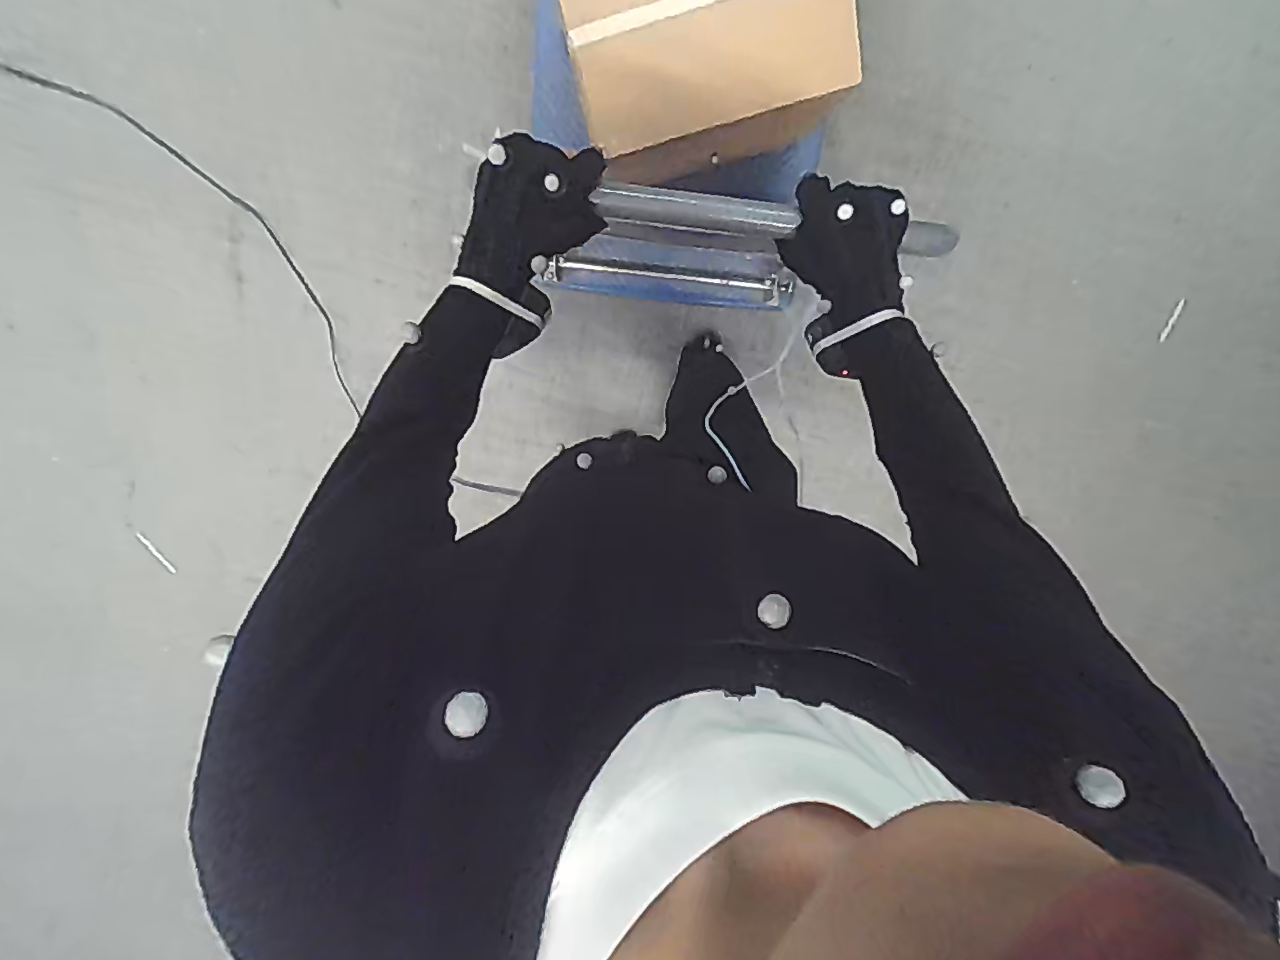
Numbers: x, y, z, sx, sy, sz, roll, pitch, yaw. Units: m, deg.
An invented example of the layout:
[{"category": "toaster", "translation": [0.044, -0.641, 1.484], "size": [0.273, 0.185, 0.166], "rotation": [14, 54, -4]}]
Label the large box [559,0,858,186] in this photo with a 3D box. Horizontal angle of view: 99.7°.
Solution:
[{"category": "large box", "translation": [0.092, -0.736, 0.903], "size": [0.408, 0.320, 0.320], "rotation": [-14, 108, 4]}]
